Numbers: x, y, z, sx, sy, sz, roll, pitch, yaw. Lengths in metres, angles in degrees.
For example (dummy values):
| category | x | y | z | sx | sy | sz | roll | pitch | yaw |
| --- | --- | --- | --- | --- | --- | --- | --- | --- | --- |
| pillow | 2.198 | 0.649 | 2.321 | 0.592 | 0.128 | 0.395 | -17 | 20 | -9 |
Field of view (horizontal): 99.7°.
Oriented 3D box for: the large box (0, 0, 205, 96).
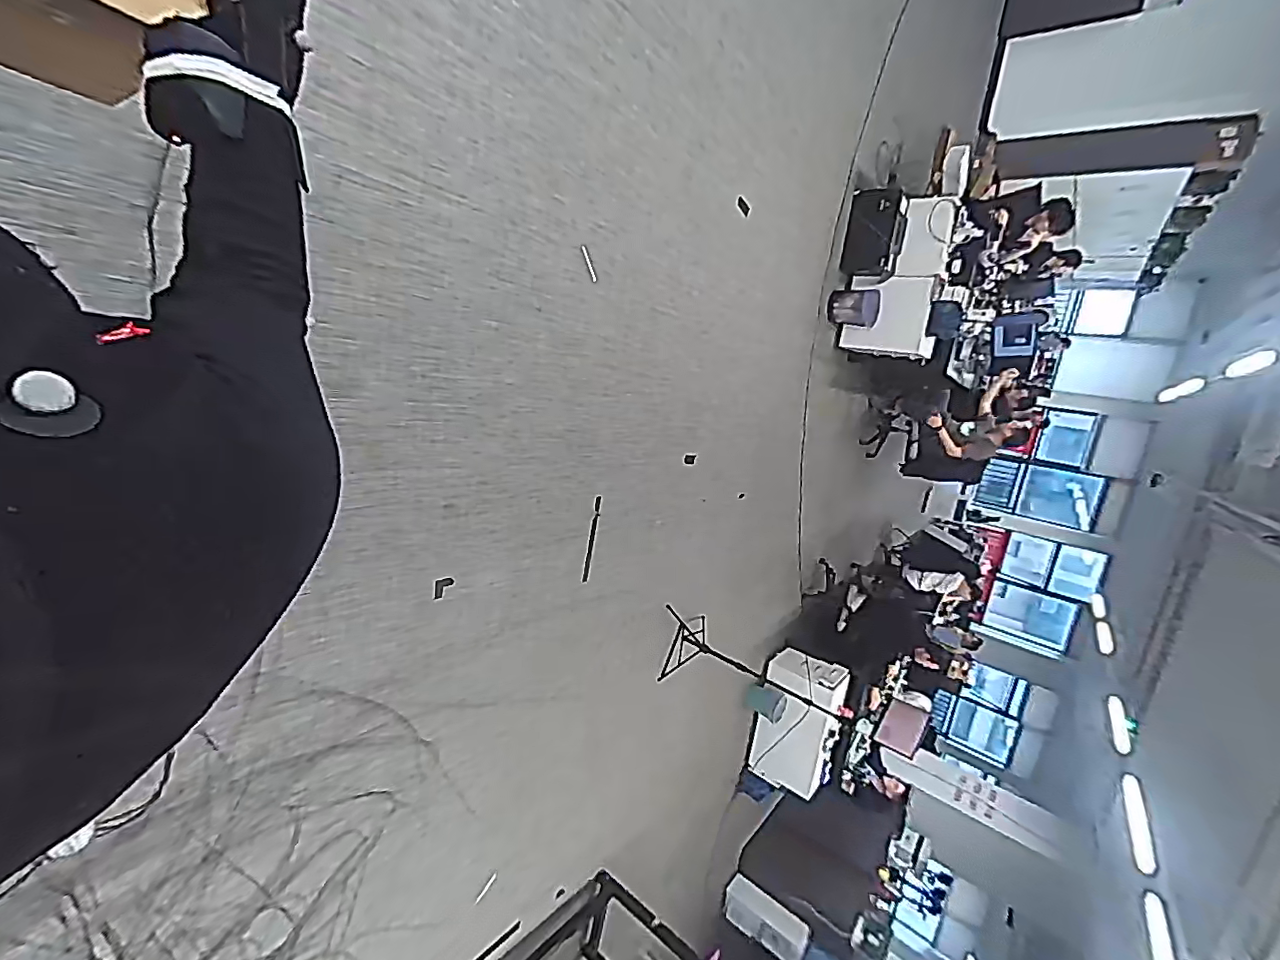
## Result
| category | x | y | z | sx | sy | sz | roll | pitch | yaw |
| --- | --- | --- | --- | --- | --- | --- | --- | --- | --- |
| large box | -0.527 | -0.490 | 0.290 | 0.408 | 0.320 | 0.320 | -4 | 110 | -54 |
